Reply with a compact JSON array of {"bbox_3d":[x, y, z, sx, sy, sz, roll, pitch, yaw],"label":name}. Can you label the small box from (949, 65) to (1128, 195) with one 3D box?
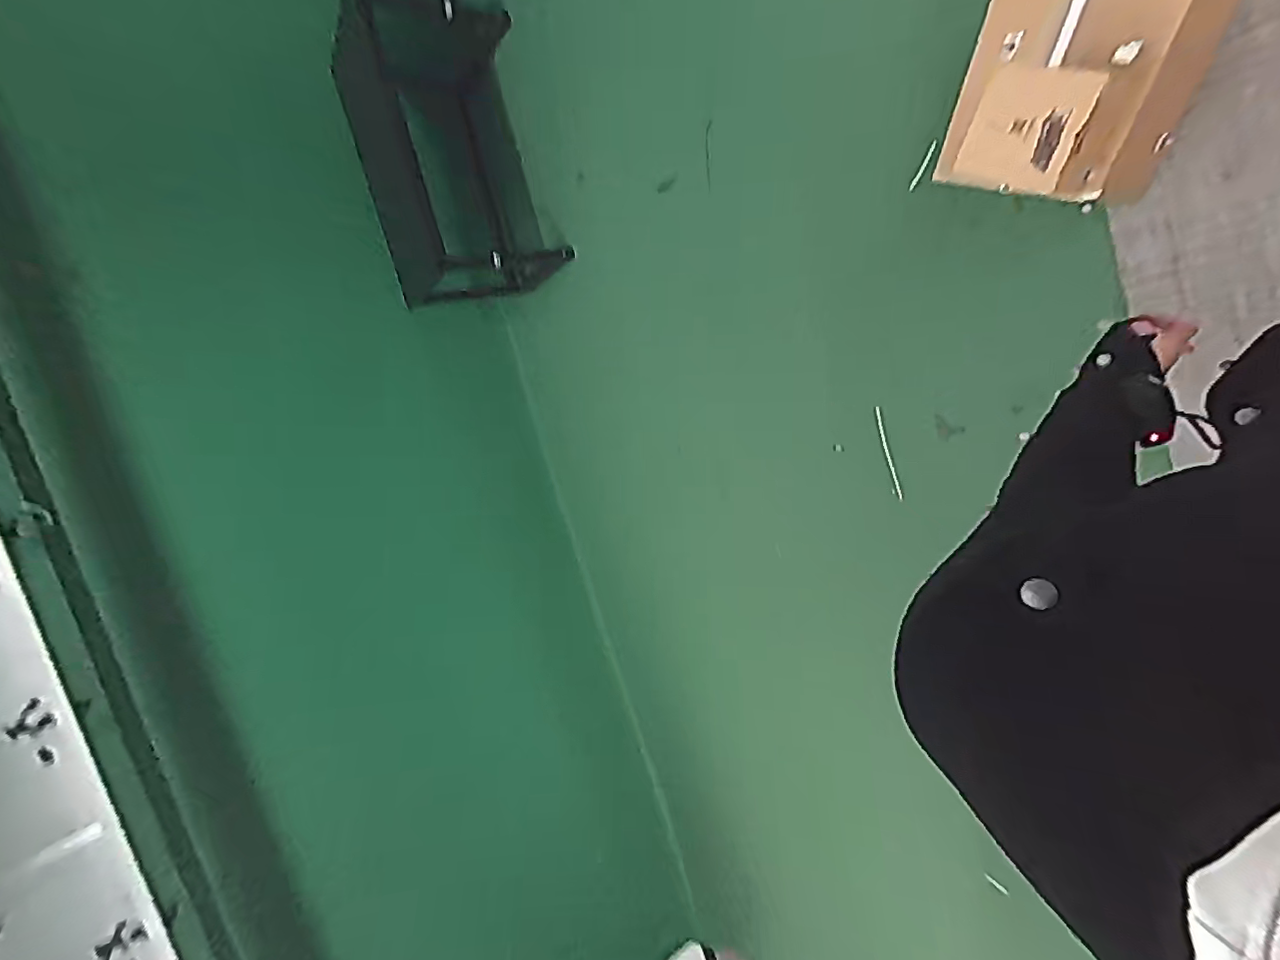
[{"bbox_3d":[0.694,-0.608,0.945,0.179,0.176,0.168,40,135,36],"label":"small box"}]
